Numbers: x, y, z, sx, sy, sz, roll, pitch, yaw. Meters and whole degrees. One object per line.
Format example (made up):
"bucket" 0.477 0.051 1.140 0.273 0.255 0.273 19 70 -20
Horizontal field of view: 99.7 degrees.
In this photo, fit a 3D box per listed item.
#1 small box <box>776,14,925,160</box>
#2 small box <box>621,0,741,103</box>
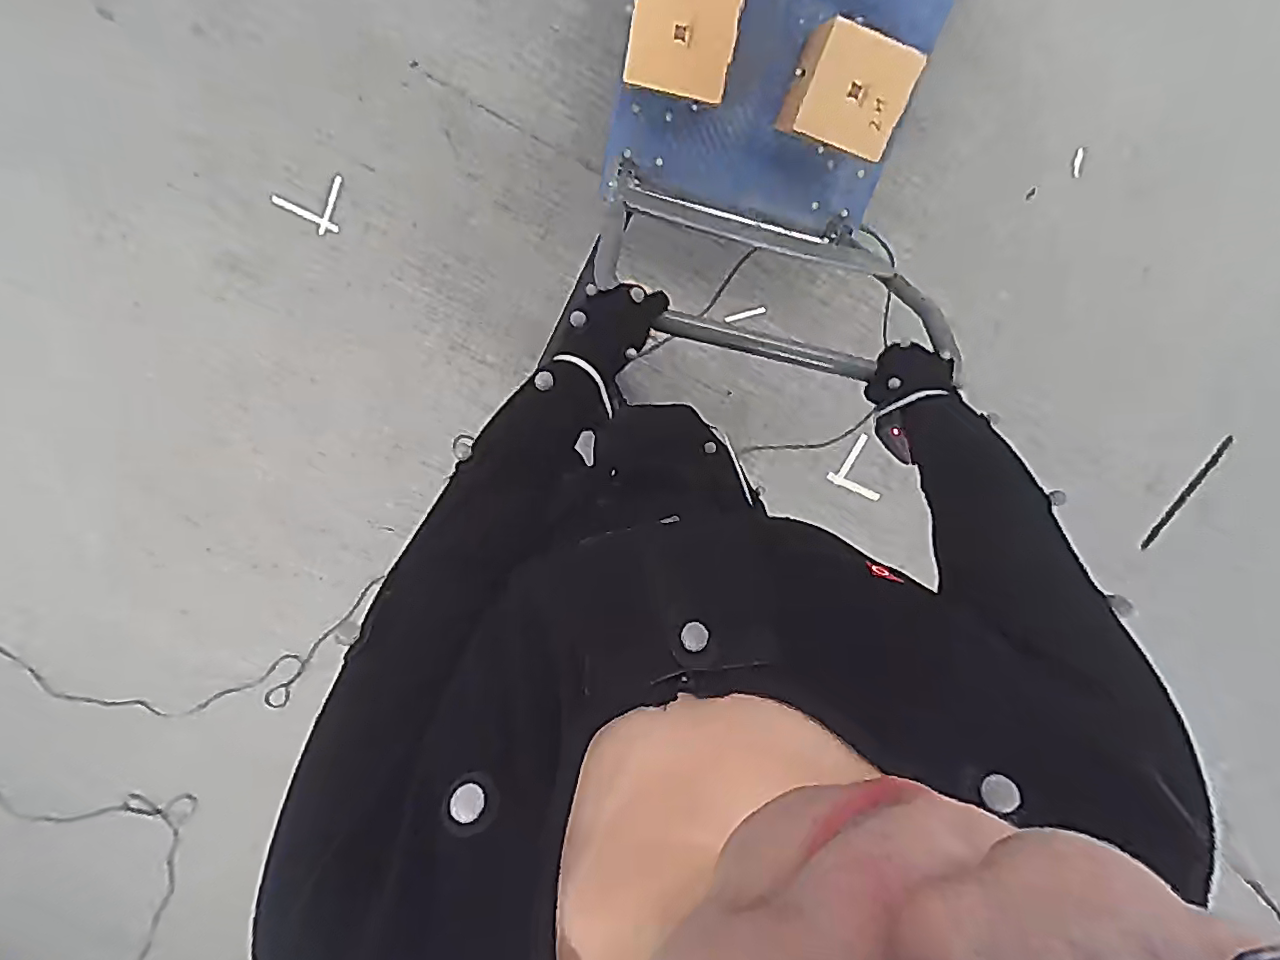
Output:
"small box" 0.372 -0.713 0.999 0.179 0.176 0.168 16 122 -10
"small box" 0.065 -0.782 0.955 0.179 0.176 0.168 9 123 -7
